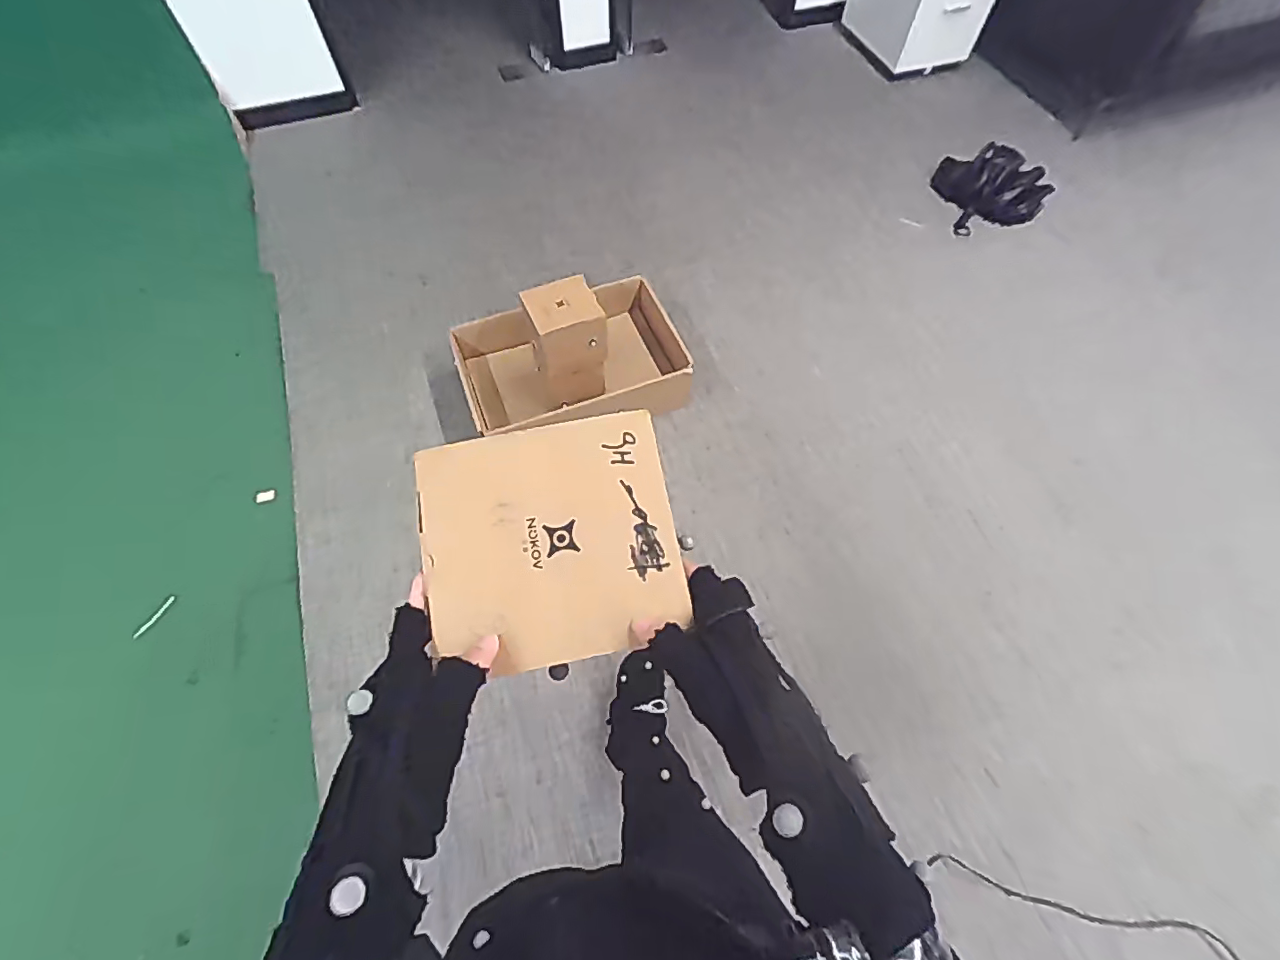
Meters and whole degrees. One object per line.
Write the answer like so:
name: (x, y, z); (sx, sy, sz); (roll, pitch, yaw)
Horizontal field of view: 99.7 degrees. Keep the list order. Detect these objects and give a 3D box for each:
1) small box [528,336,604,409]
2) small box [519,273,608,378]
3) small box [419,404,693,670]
small box: (-0.211, -0.327, 1.579); (0.168, 0.176, 0.179); (-20, 63, -11)
small box: (-0.196, -0.401, 1.416); (0.179, 0.176, 0.168); (-25, 64, -15)
small box: (-0.064, 0.059, 0.463); (0.179, 0.176, 0.168); (-13, 74, -5)
